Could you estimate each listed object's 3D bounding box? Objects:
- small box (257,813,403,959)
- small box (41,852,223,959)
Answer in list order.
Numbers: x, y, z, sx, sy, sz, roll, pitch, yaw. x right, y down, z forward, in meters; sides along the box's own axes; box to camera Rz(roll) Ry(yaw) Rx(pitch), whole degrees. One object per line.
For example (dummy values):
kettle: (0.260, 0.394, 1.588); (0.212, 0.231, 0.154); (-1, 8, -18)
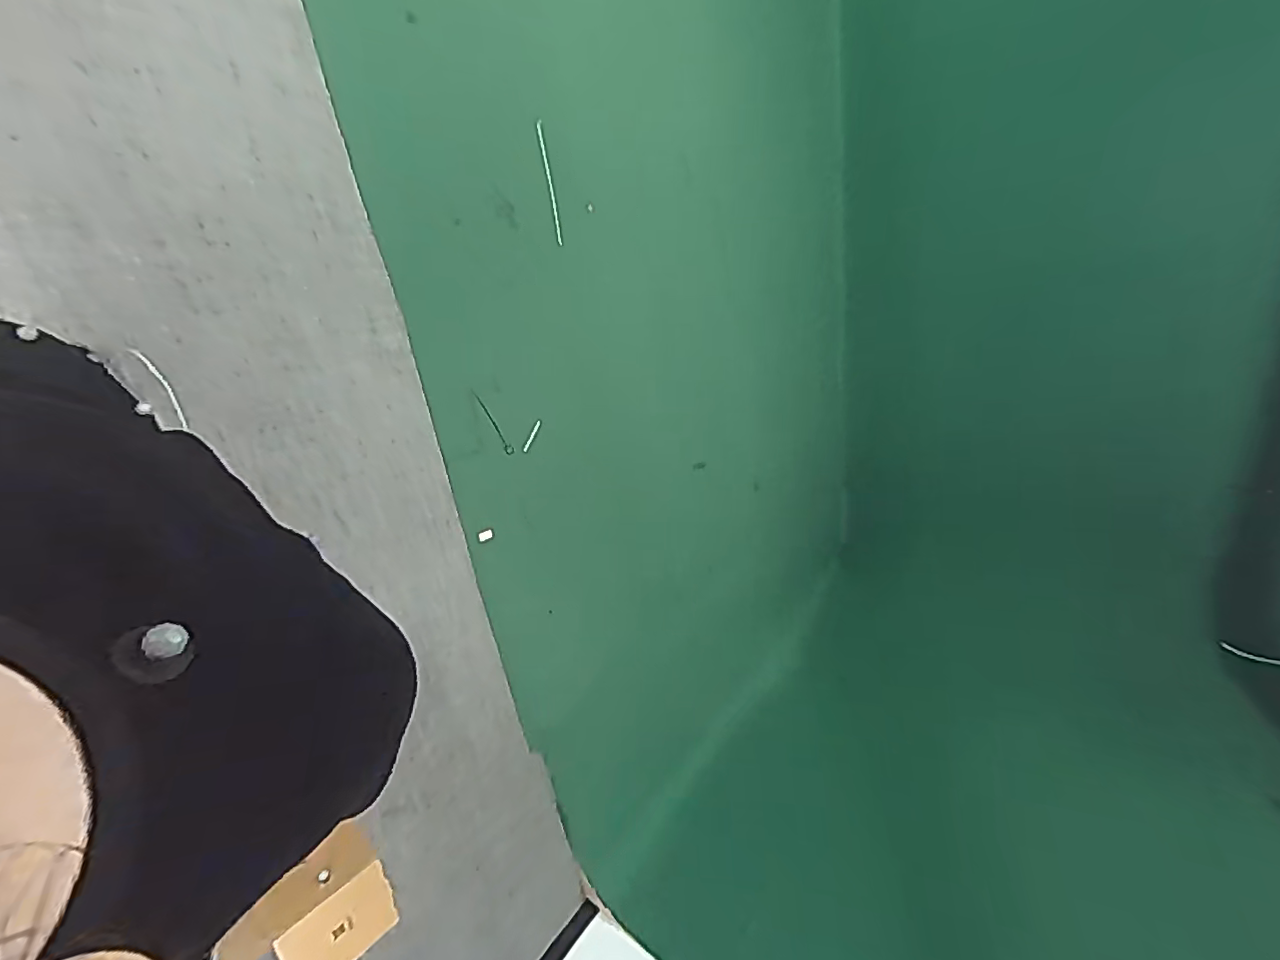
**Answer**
small box: (-0.573, 0.770, 0.993); (0.179, 0.176, 0.168); (-24, 115, -44)
small box: (-0.736, 0.709, 0.796); (0.168, 0.176, 0.179); (-21, 113, -45)
